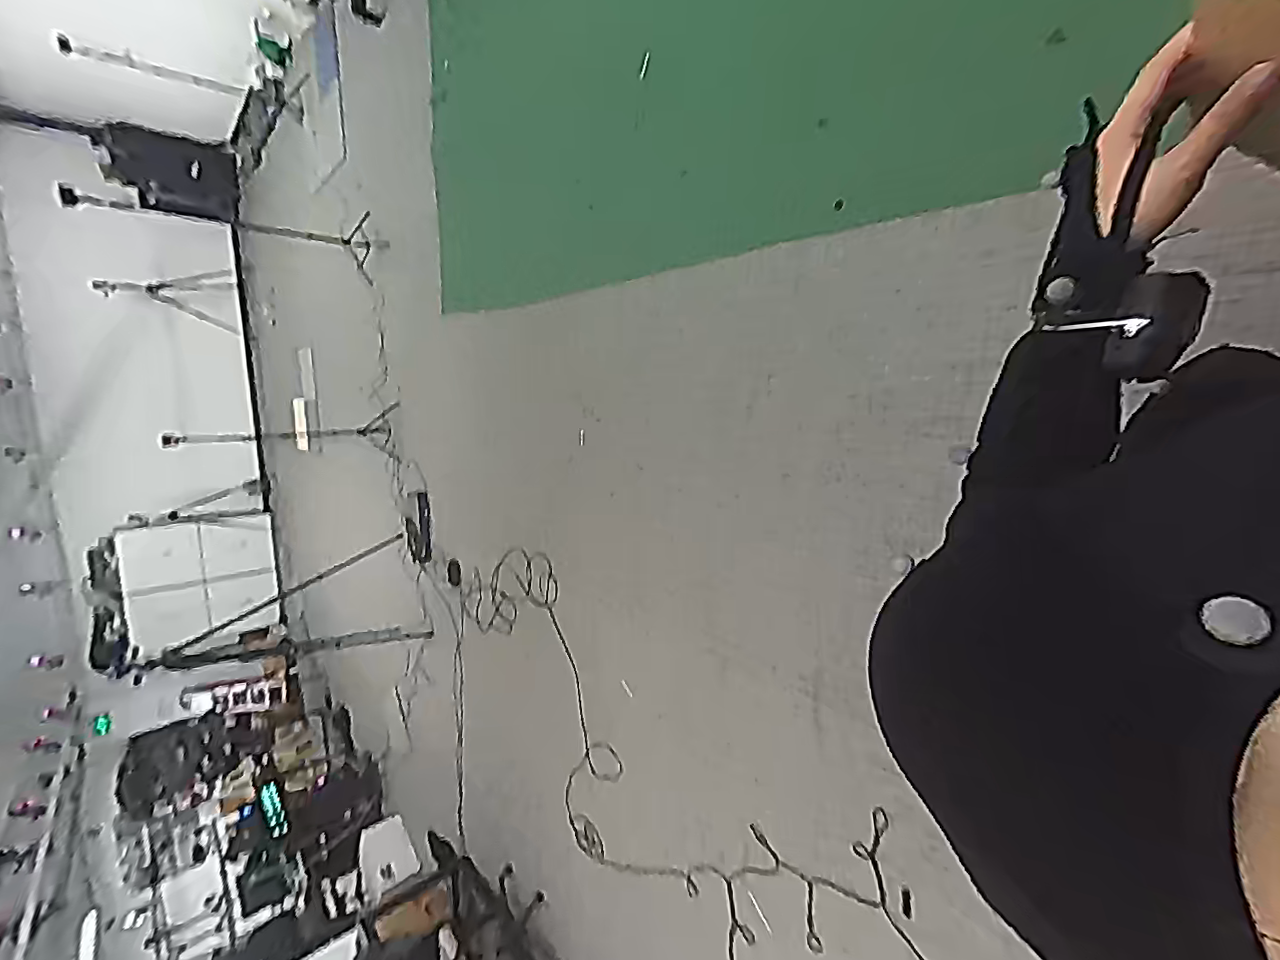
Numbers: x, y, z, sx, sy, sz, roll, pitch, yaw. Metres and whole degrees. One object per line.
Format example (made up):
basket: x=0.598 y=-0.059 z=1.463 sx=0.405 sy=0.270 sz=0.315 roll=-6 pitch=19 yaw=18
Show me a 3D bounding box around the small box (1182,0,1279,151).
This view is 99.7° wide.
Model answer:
small box: x=0.408 y=-0.247 z=0.240 sx=0.179 sy=0.176 sz=0.168 roll=-53 pitch=58 yaw=33
